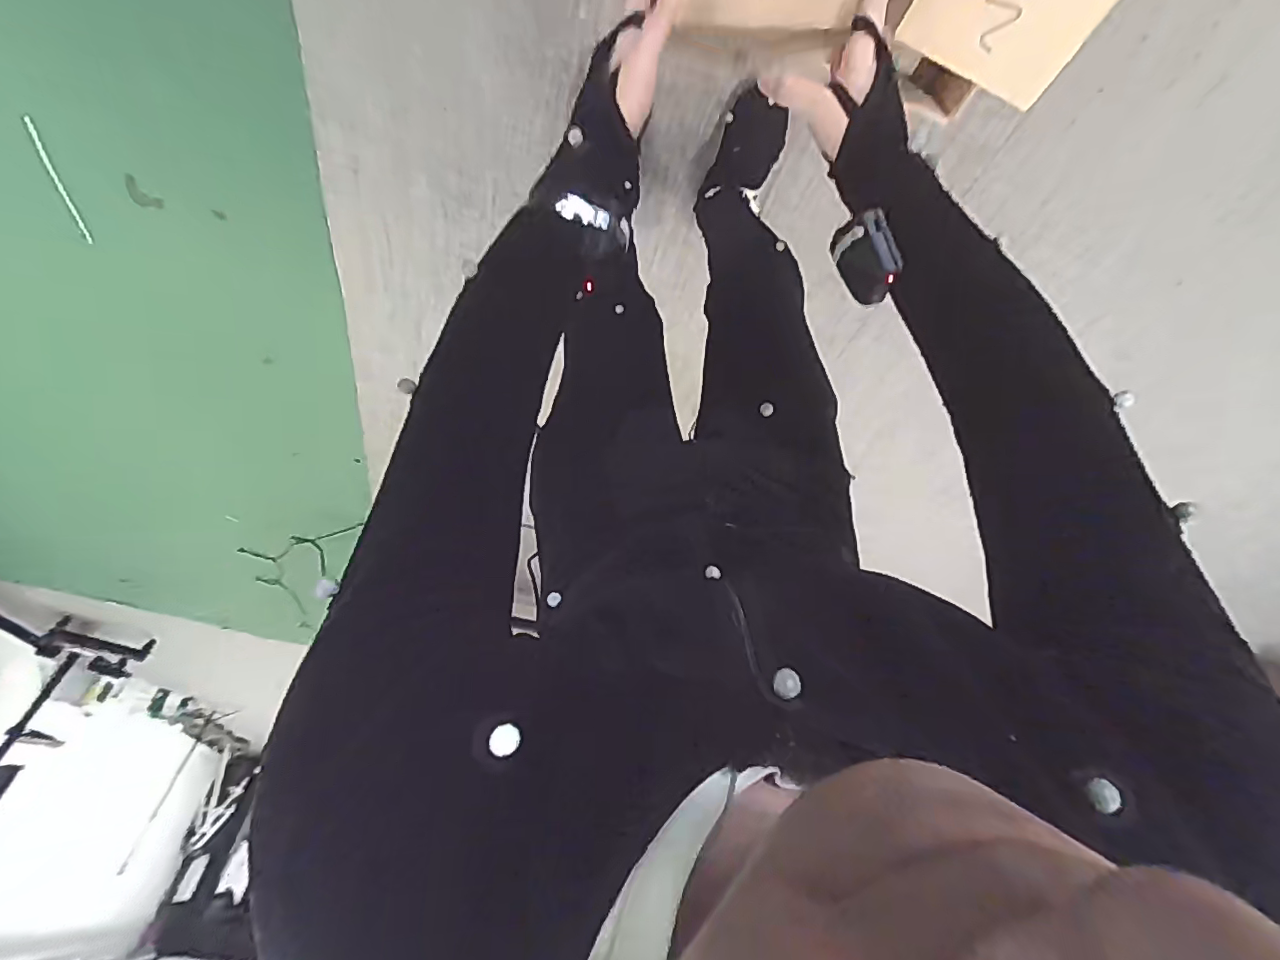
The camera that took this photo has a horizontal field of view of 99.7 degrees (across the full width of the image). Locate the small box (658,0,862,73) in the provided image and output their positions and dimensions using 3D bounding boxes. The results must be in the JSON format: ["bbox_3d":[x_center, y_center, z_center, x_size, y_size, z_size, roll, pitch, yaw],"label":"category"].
[{"bbox_3d":[0.105,-0.482,0.474,0.168,0.176,0.179,4,119,5],"label":"small box"}]
